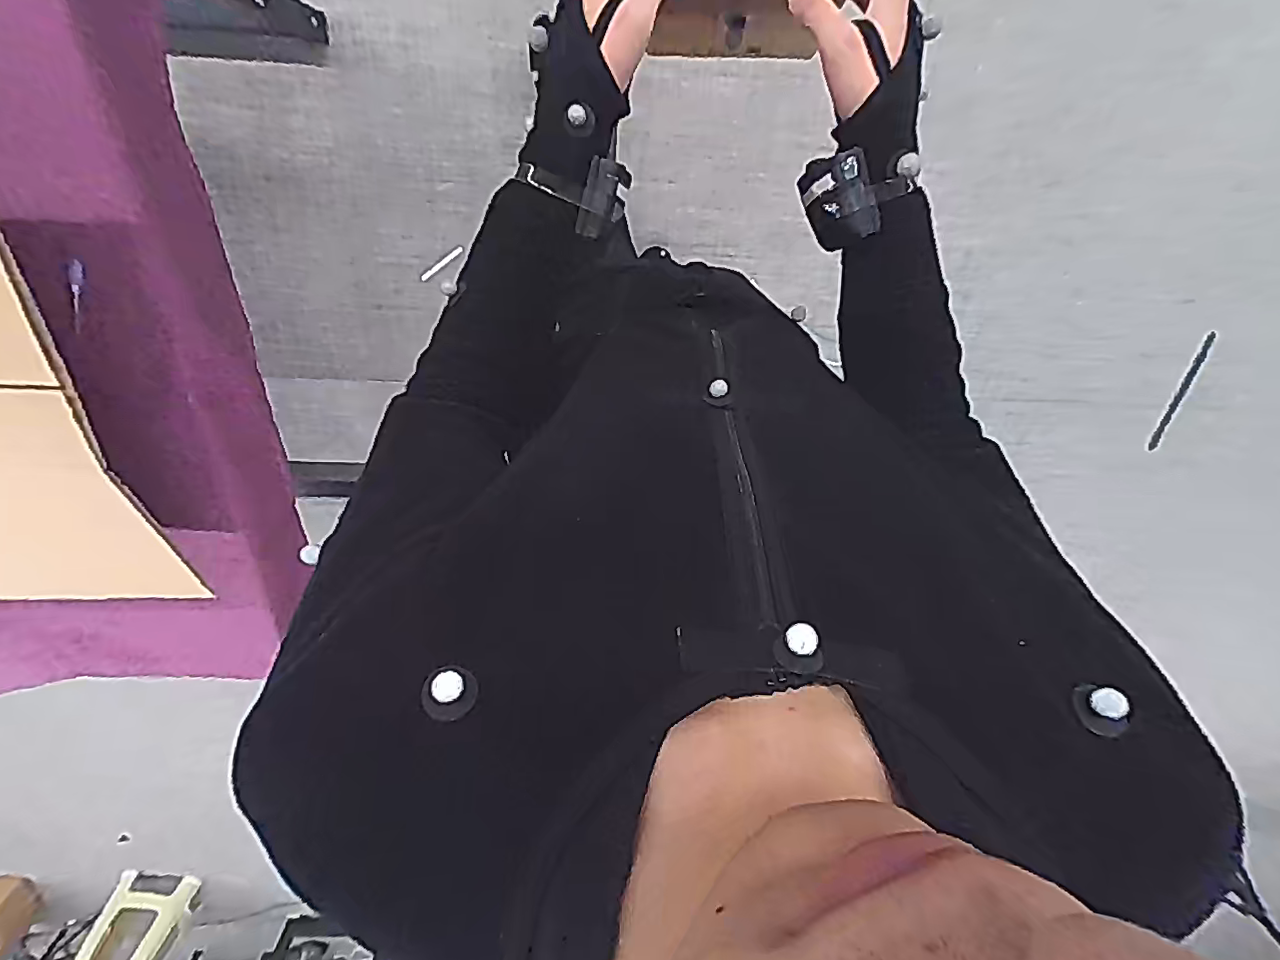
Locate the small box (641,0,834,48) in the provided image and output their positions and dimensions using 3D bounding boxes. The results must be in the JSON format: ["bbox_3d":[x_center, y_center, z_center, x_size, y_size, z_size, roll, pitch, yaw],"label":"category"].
[{"bbox_3d":[0.086,-0.474,0.429,0.168,0.176,0.179,4,112,4],"label":"small box"}]
